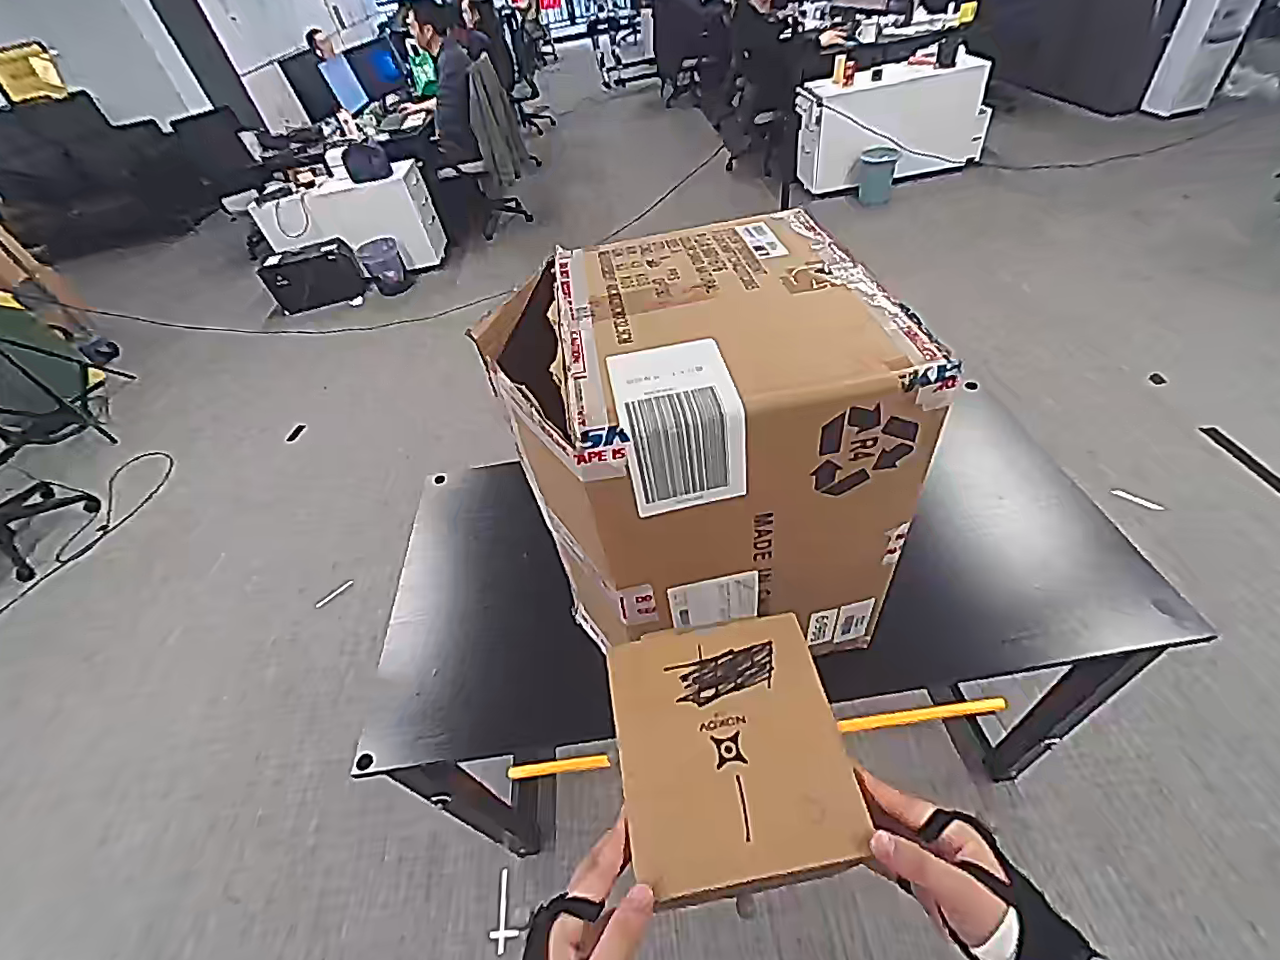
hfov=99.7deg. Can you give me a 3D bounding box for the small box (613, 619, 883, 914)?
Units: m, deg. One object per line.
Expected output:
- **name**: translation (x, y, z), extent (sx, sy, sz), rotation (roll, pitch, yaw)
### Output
- **small box**: translation (0.074, 0.248, 0.467), extent (0.168, 0.176, 0.179), rotation (-10, 50, -2)
